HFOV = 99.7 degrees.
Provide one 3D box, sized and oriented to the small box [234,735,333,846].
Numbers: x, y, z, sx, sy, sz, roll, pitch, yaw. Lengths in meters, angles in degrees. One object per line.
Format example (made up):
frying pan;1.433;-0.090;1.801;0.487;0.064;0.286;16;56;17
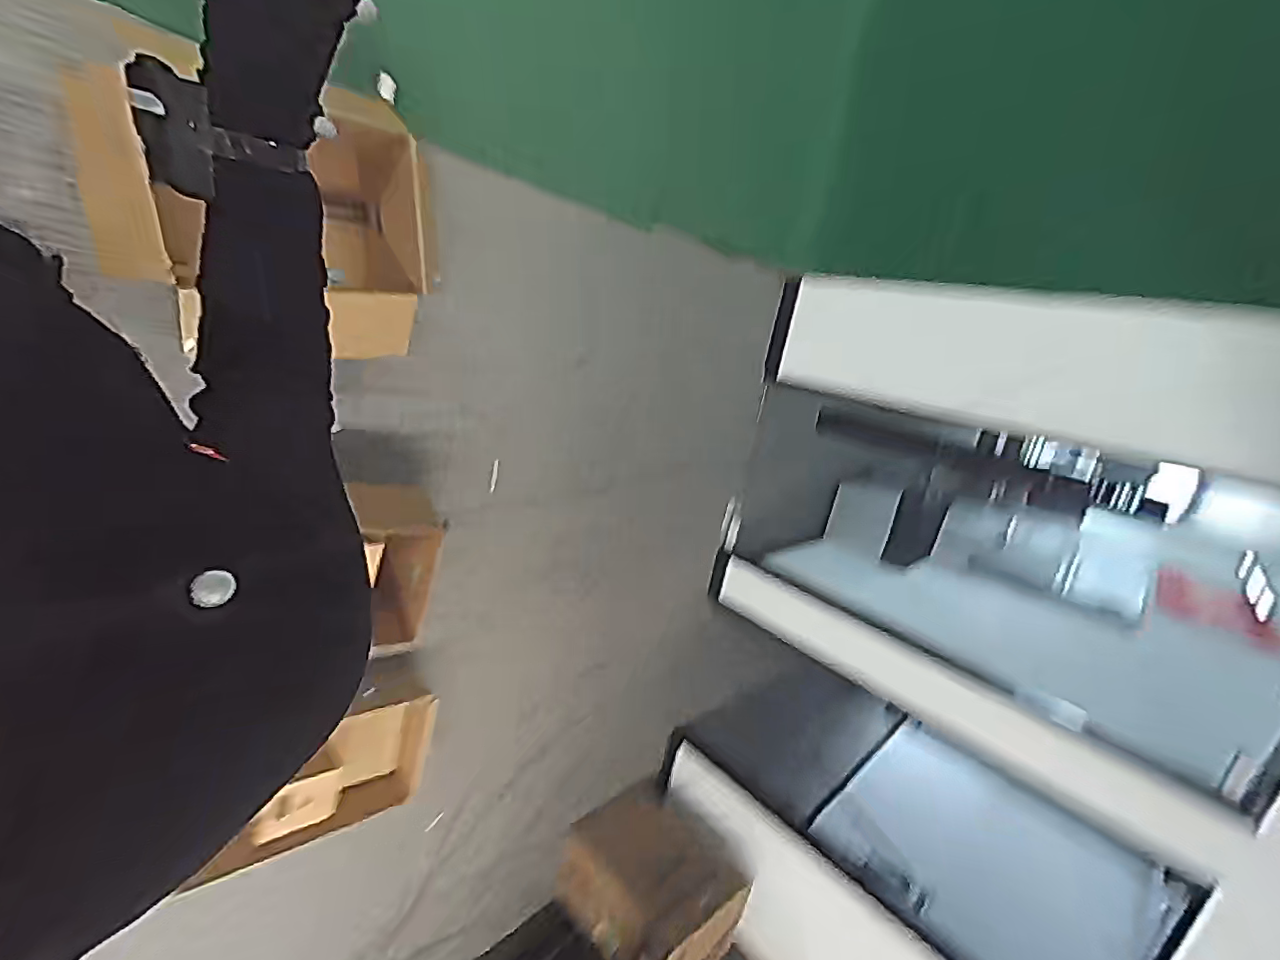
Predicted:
small box;-0.972;0.831;1.468;0.179;0.176;0.168;7;104;-50
